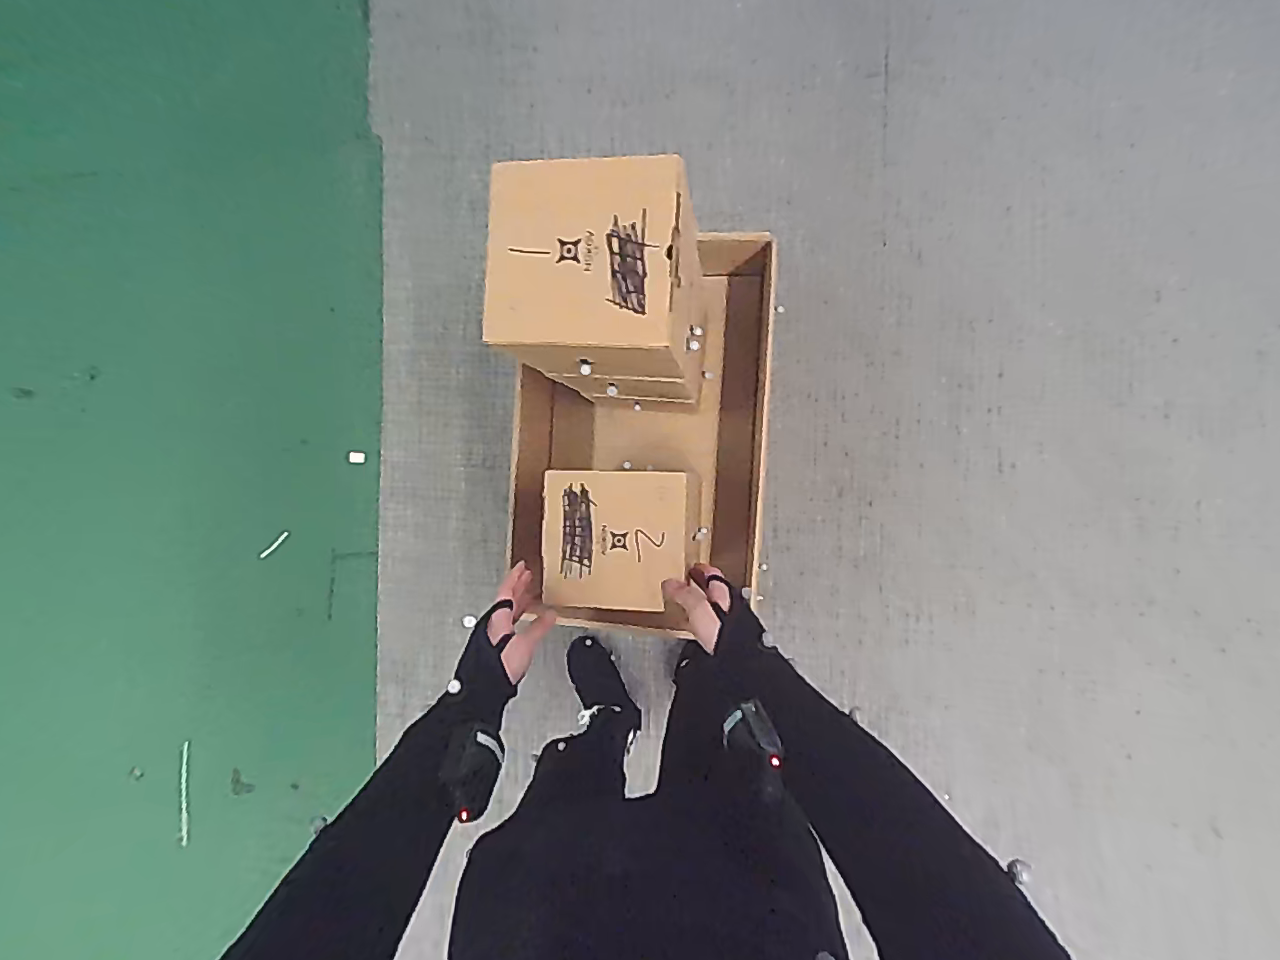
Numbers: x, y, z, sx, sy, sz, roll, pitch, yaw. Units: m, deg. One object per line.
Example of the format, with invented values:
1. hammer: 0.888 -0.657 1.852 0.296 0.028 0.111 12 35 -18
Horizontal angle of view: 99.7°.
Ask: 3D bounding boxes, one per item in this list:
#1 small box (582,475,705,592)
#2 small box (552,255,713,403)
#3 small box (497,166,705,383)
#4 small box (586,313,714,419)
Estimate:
1. small box: 0.014 0.079 0.880 0.179 0.176 0.168 3 89 9
2. small box: -0.002 -0.198 0.723 0.179 0.176 0.168 6 92 10
3. small box: -0.028 -0.198 0.560 0.179 0.176 0.168 5 91 10
4. small box: 0.024 -0.195 0.885 0.179 0.176 0.168 7 91 9
